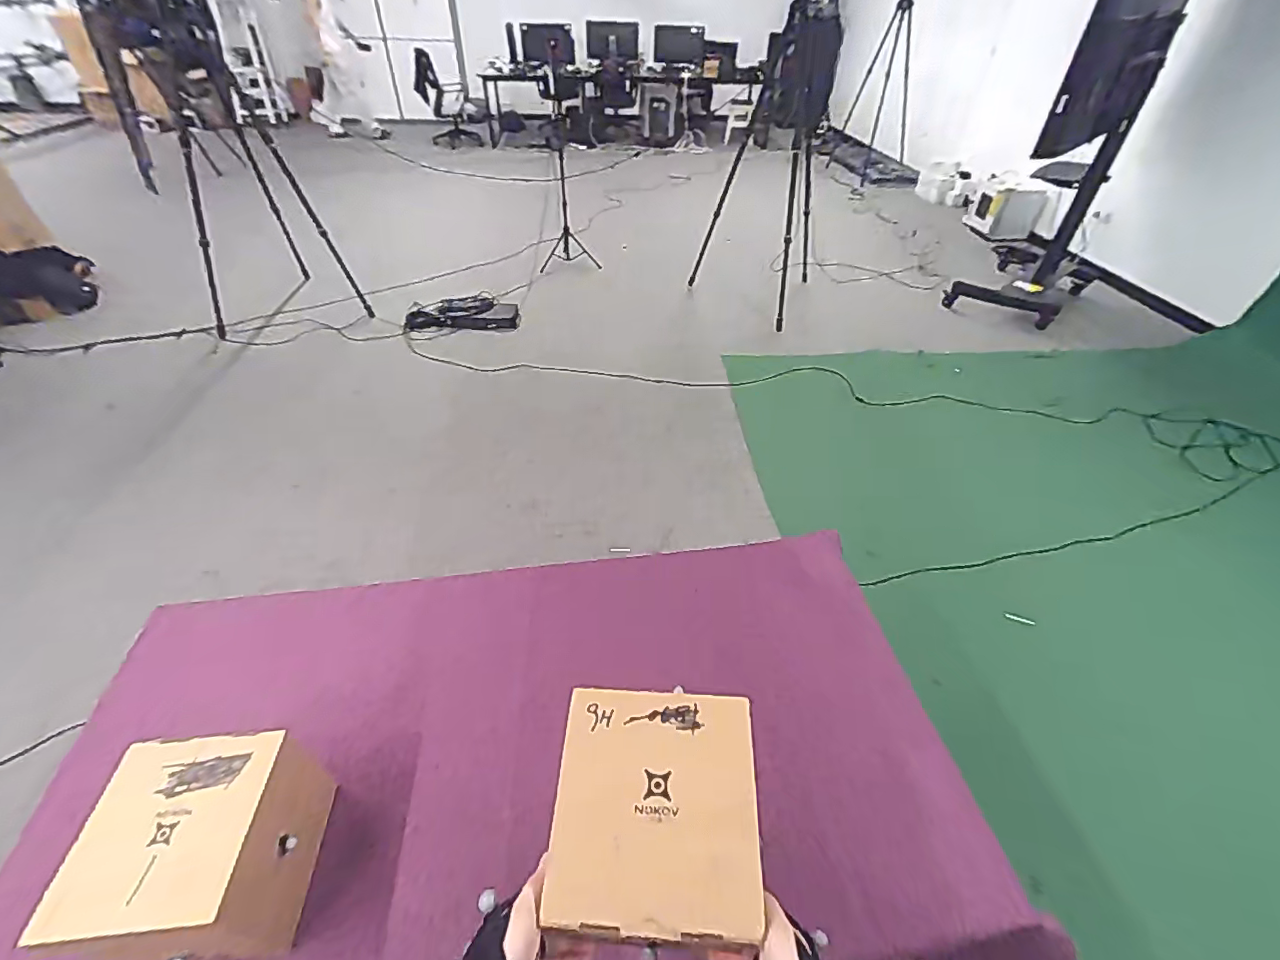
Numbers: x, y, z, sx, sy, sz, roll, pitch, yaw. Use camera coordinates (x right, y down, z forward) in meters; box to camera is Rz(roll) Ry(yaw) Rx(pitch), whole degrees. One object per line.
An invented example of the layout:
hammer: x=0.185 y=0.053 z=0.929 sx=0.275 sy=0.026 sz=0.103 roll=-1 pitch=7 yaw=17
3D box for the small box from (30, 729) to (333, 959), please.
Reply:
small box: x=-0.469 y=0.403 z=0.598 sx=0.168 sy=0.176 sz=0.179 roll=-3 pitch=43 yaw=-5

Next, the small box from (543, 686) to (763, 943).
small box: x=0.017 y=0.315 z=0.507 sx=0.168 sy=0.176 sz=0.179 roll=2 pitch=48 yaw=3
